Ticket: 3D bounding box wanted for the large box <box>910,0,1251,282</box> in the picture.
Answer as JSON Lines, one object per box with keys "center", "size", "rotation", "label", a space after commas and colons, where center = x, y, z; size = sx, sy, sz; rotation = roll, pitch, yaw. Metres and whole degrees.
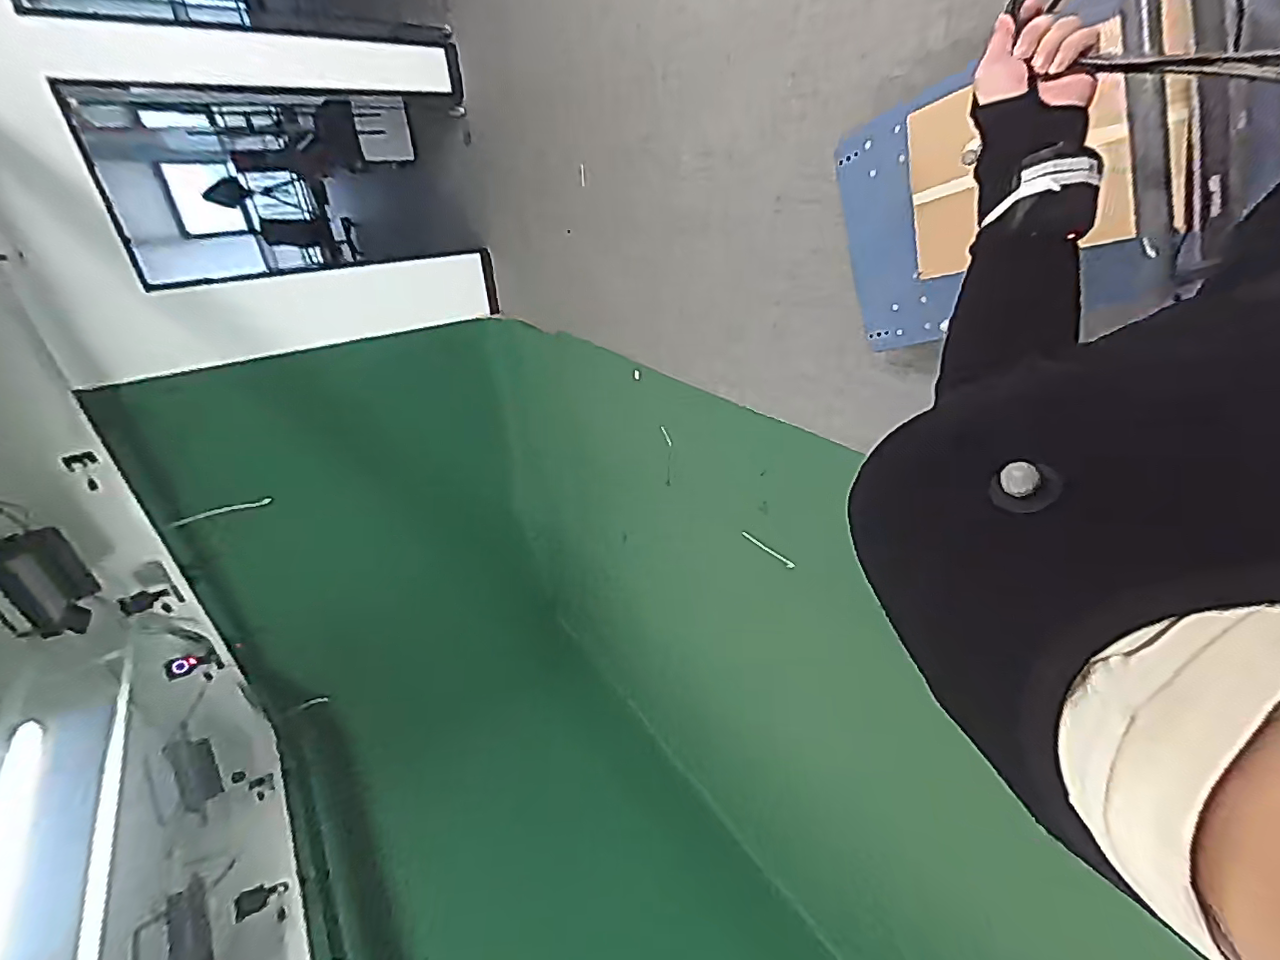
{"center": [0.782, -0.584, 0.987], "size": [0.408, 0.320, 0.320], "rotation": [11, 117, 56], "label": "large box"}
